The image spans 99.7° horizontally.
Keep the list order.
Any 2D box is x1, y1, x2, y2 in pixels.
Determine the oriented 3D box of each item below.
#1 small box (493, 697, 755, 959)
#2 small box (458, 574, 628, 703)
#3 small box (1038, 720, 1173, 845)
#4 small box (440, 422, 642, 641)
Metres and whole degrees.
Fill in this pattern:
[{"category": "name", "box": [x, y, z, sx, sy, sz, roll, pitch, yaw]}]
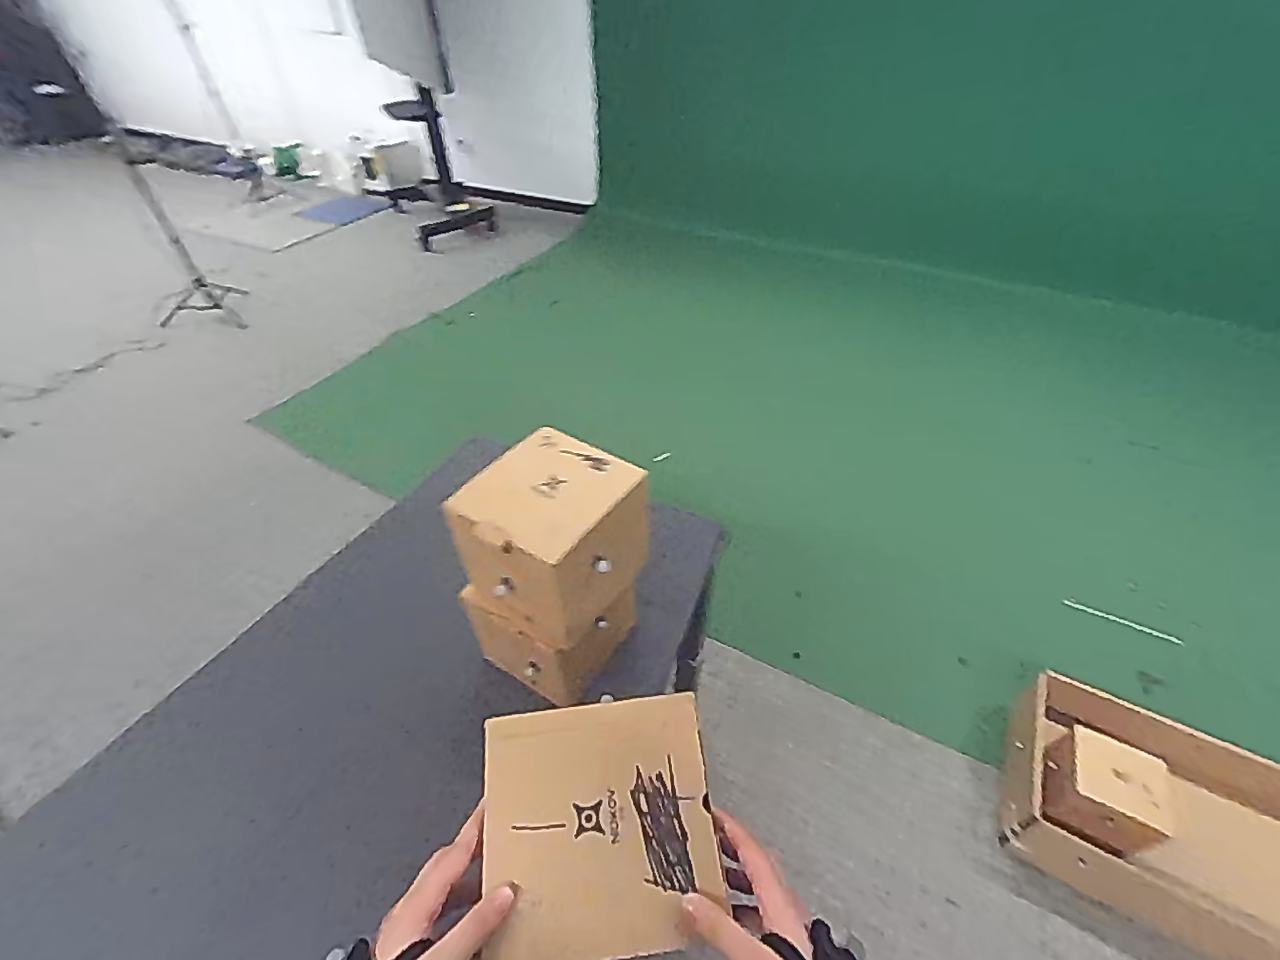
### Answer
[{"category": "small box", "box": [-0.018, 0.293, 0.461, 0.179, 0.176, 0.168, -5, 57, -4]}, {"category": "small box", "box": [-0.125, 0.184, 0.780, 0.168, 0.176, 0.179, 23, 47, 22]}, {"category": "small box", "box": [1.039, 0.688, 1.225, 0.179, 0.176, 0.168, 22, 49, 20]}, {"category": "small box", "box": [-0.106, 0.064, 0.668, 0.168, 0.176, 0.179, 25, 50, 24]}]
